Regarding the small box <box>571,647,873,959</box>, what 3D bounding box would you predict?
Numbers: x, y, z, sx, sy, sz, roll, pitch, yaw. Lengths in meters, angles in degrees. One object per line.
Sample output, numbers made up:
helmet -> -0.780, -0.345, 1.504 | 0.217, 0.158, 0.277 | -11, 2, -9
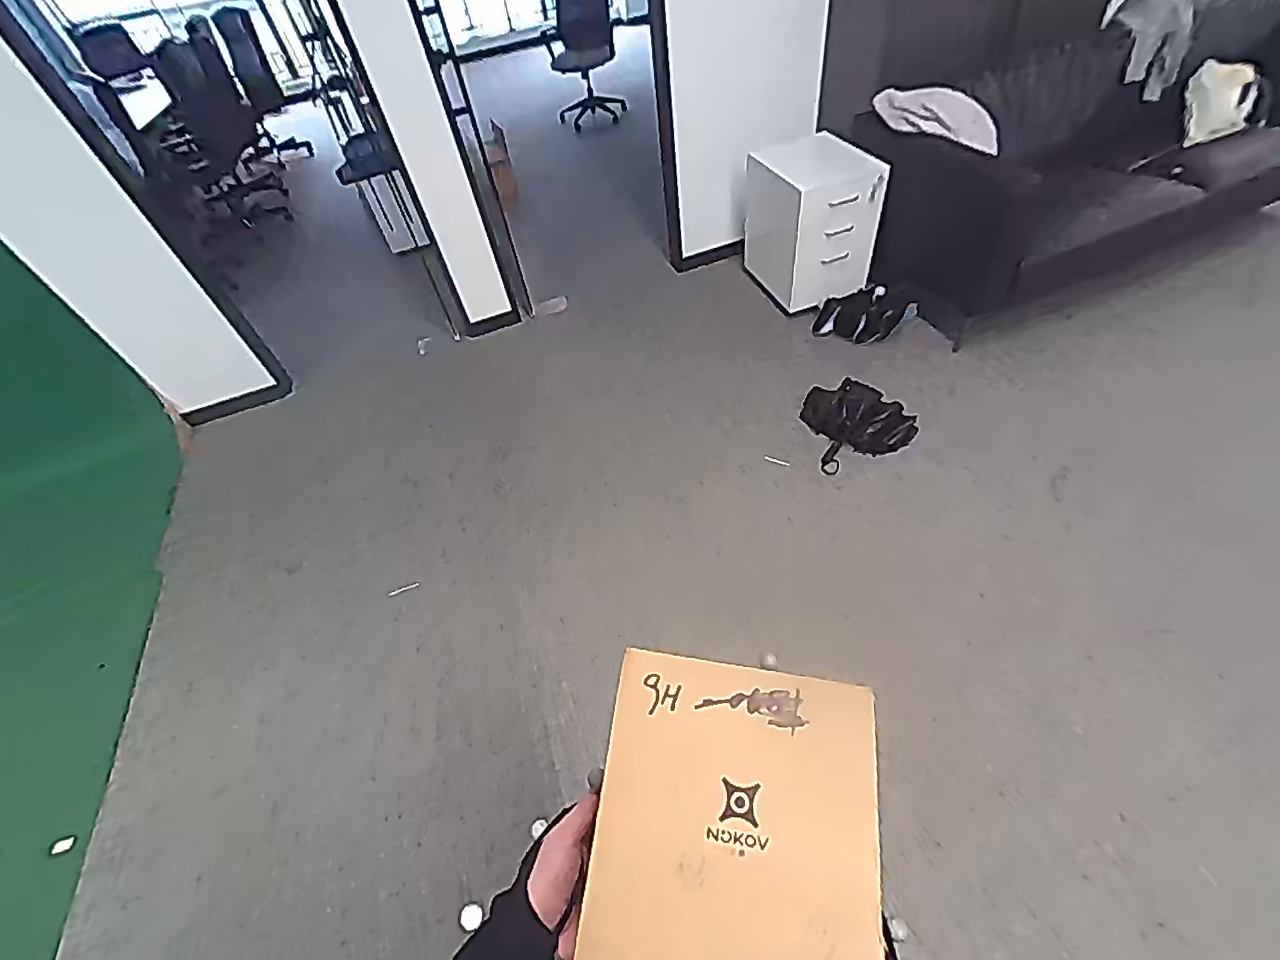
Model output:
small box -> 0.055, 0.235, 0.395 | 0.168, 0.176, 0.179 | 9, 65, 3
